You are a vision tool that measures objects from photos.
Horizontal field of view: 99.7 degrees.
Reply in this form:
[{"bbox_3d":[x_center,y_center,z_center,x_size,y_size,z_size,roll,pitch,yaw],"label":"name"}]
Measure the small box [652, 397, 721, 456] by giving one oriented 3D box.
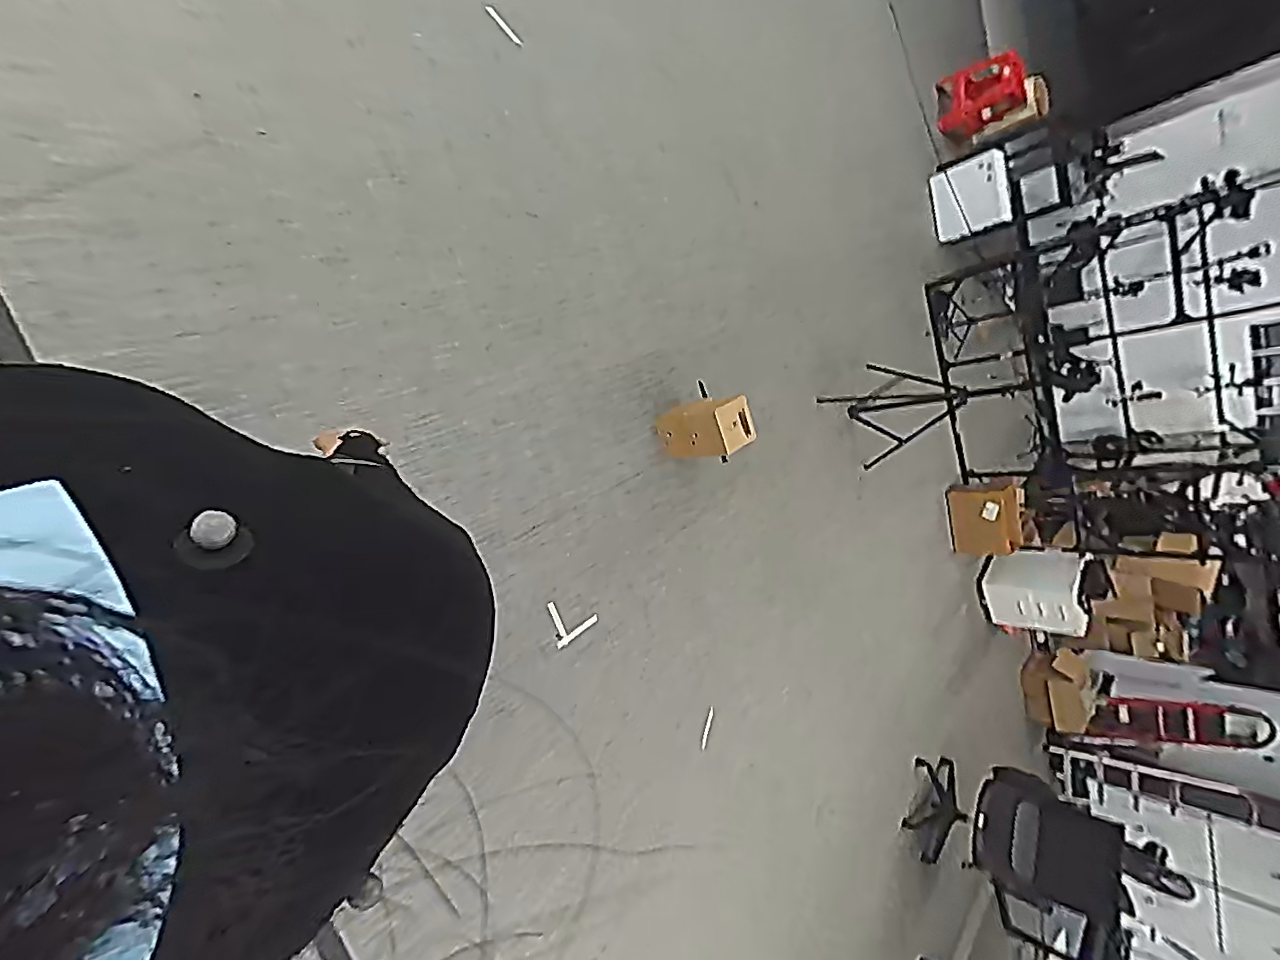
[{"bbox_3d":[0.176,-0.204,2.081,0.179,0.176,0.168,-34,109,-36],"label":"small box"}]
